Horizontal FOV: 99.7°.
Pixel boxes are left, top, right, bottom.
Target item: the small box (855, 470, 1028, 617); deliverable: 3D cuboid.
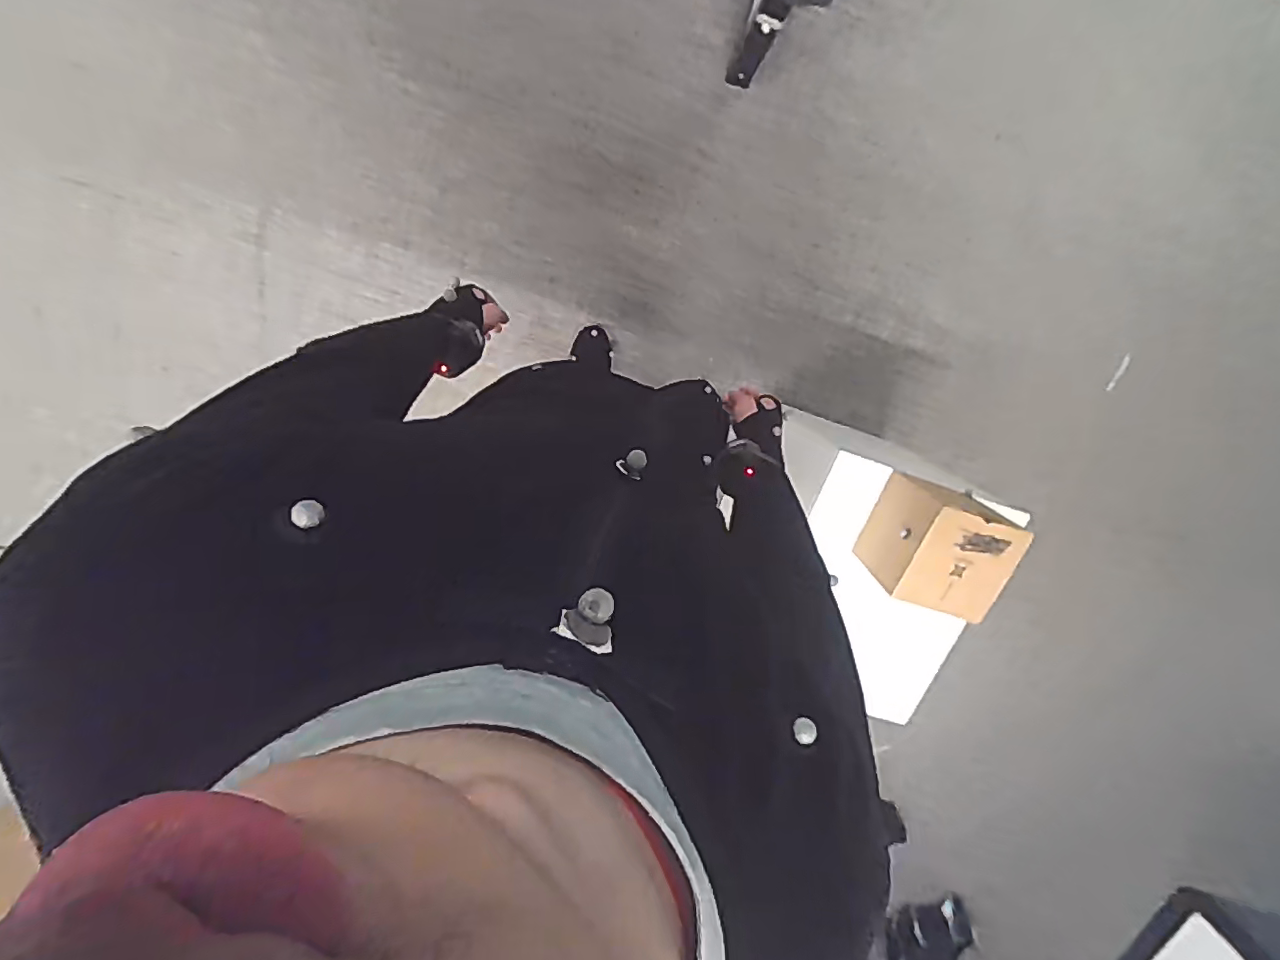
[{"bbox_3d":[0.505,0.102,0.938,0.168,0.176,0.179,17,109,-8],"label":"small box"}]
